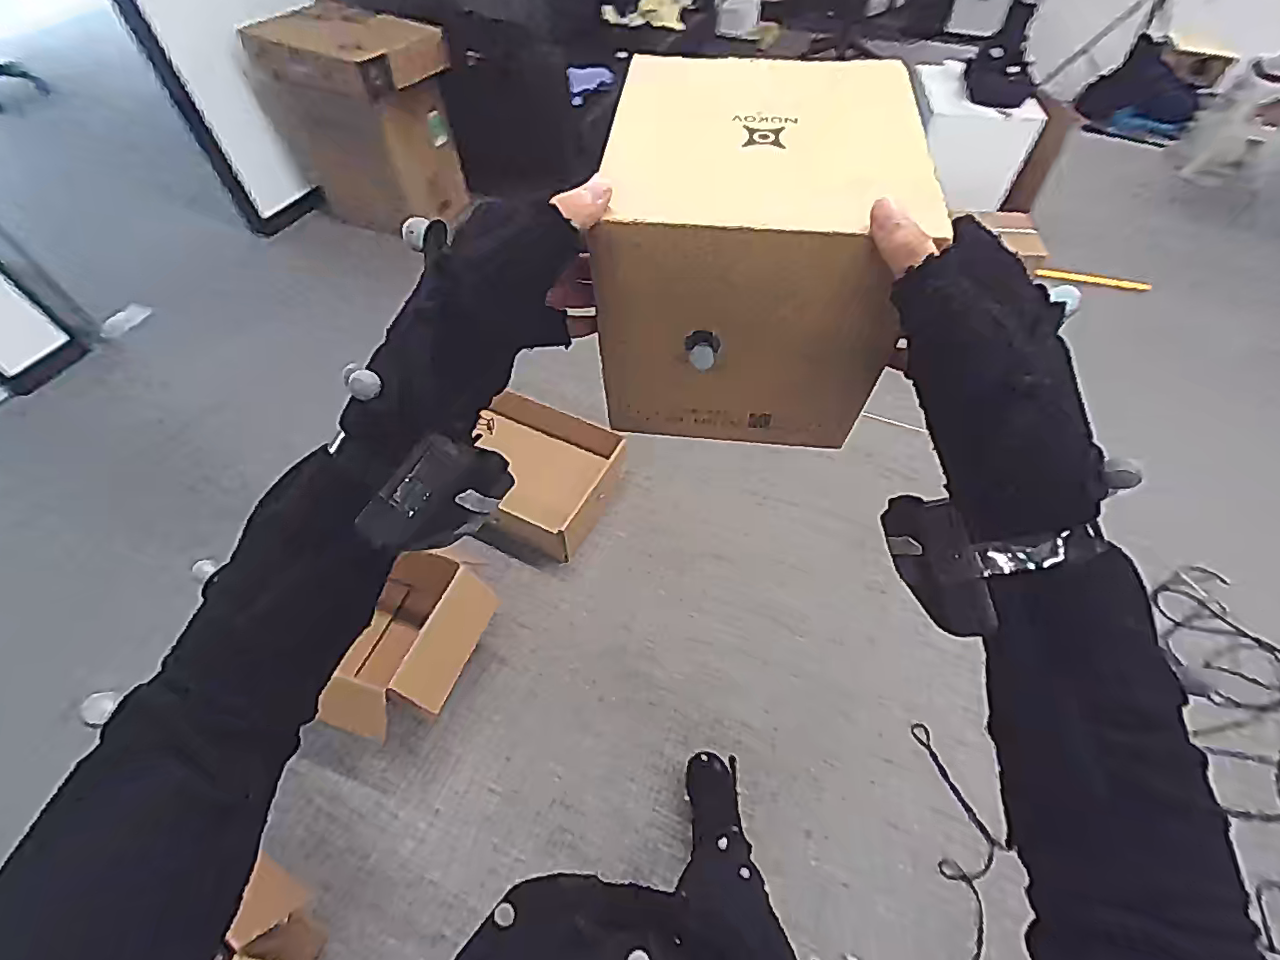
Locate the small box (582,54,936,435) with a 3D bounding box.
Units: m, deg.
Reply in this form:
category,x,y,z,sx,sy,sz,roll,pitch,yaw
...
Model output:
category,x,y,z,sx,sy,sz,roll,pitch,yaw
small box,0.065,-0.147,0.359,0.168,0.176,0.179,4,58,4
